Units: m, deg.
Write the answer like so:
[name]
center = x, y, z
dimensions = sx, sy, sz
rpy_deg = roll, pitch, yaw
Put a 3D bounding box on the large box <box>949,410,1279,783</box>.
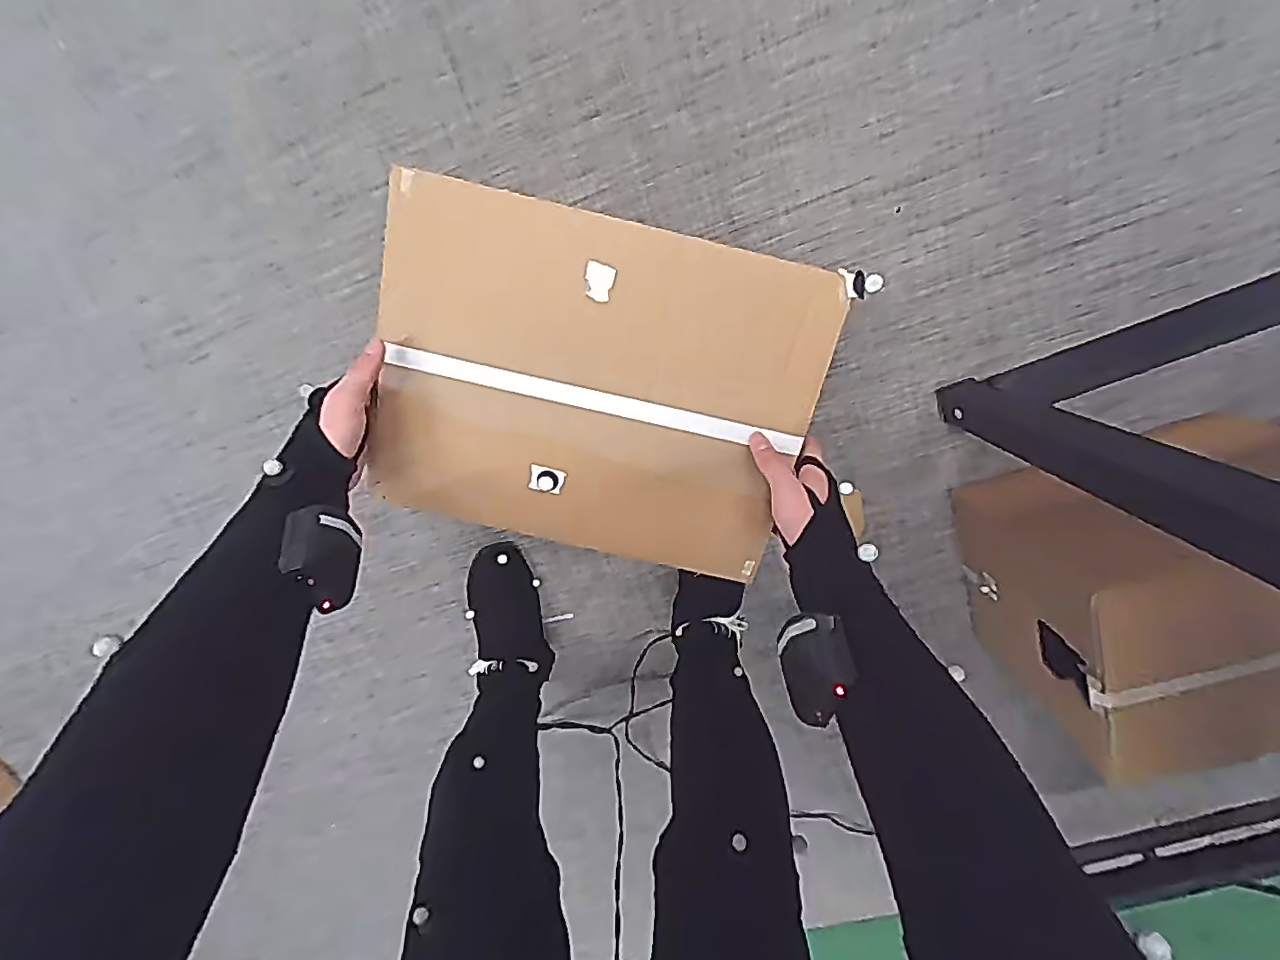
[large box]
center = 0.730, 0.136, 0.750
dimensions = 0.408, 0.320, 0.320
rpy_deg = -19, 109, 7
